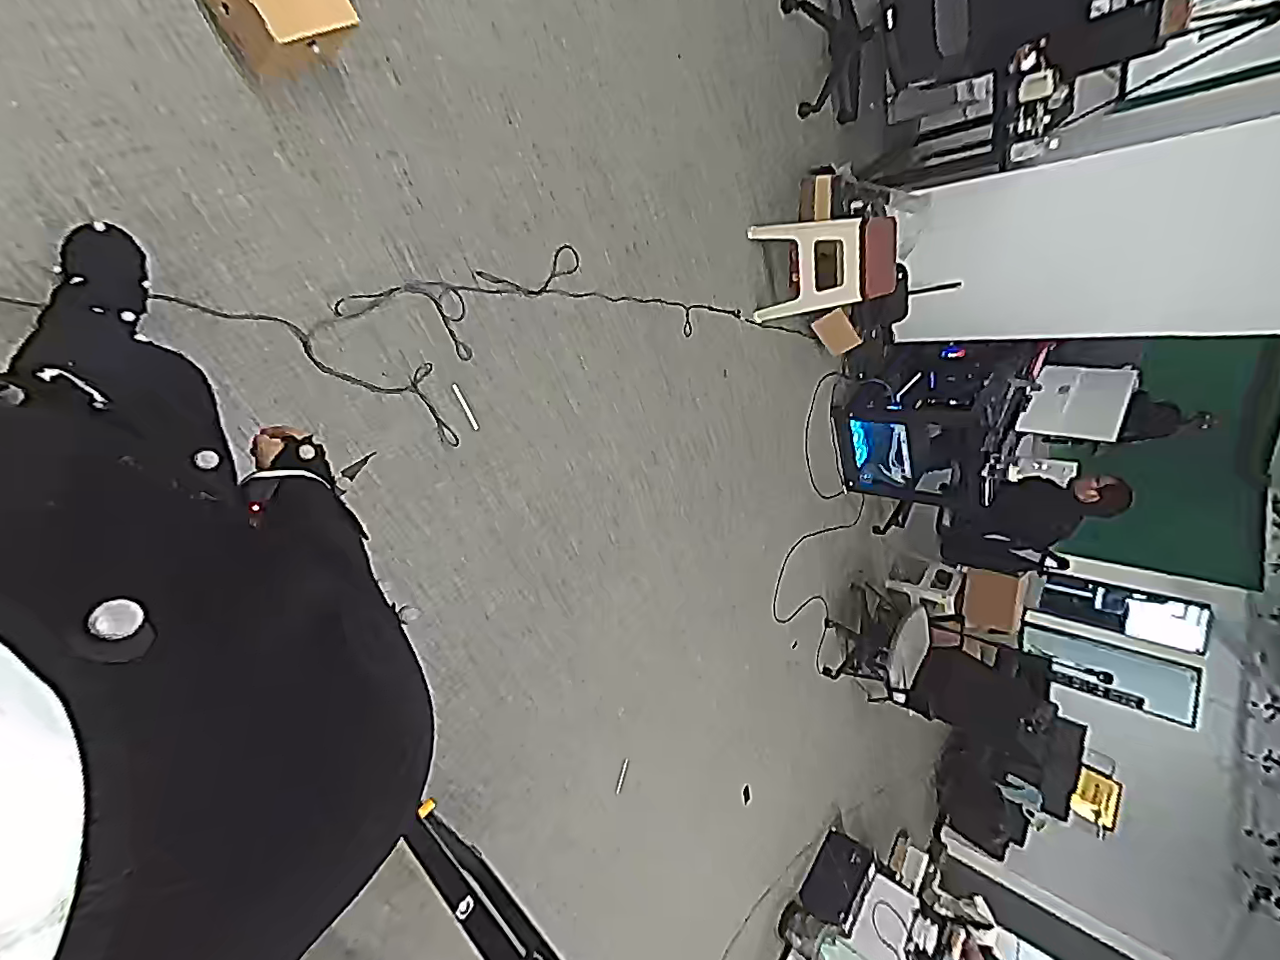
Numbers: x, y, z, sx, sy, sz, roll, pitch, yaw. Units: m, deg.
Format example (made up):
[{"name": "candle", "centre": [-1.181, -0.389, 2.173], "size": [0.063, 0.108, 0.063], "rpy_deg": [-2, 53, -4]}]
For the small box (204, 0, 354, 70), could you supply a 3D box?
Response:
[{"name": "small box", "centre": [-0.682, -0.902, 1.001], "size": [0.179, 0.176, 0.168], "rpy_deg": [-47, 128, -28]}]
